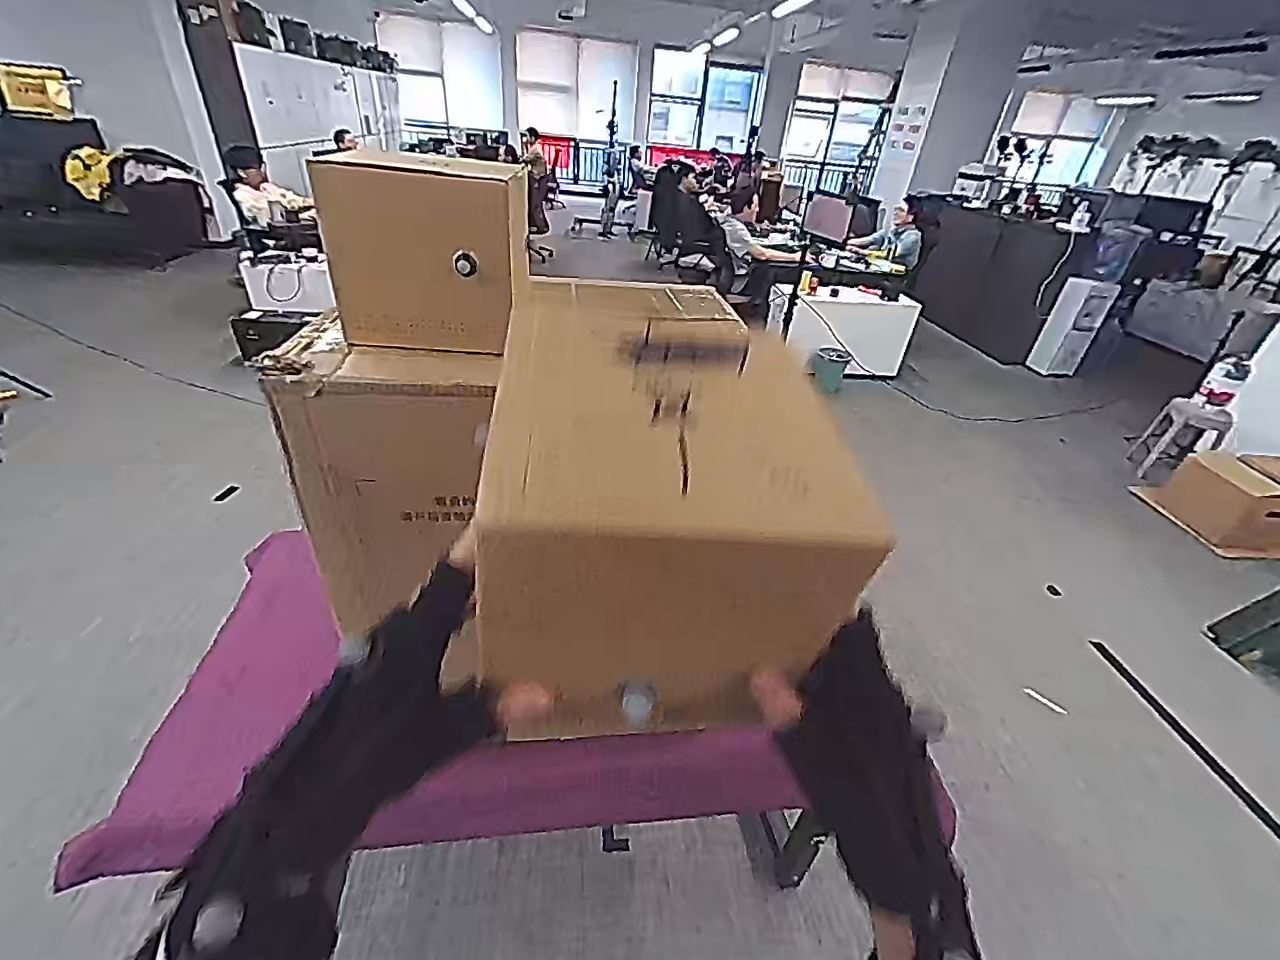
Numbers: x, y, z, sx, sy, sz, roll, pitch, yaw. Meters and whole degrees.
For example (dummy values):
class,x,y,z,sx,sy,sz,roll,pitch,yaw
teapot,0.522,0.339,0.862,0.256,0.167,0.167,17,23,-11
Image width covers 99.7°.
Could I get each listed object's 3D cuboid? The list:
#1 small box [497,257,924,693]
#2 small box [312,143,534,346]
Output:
class,x,y,z,sx,sy,sz,roll,pitch,yaw
small box,0.012,-0.001,0.310,0.168,0.176,0.179,4,44,-9
small box,-0.208,-0.252,0.581,0.179,0.176,0.168,1,33,-6
